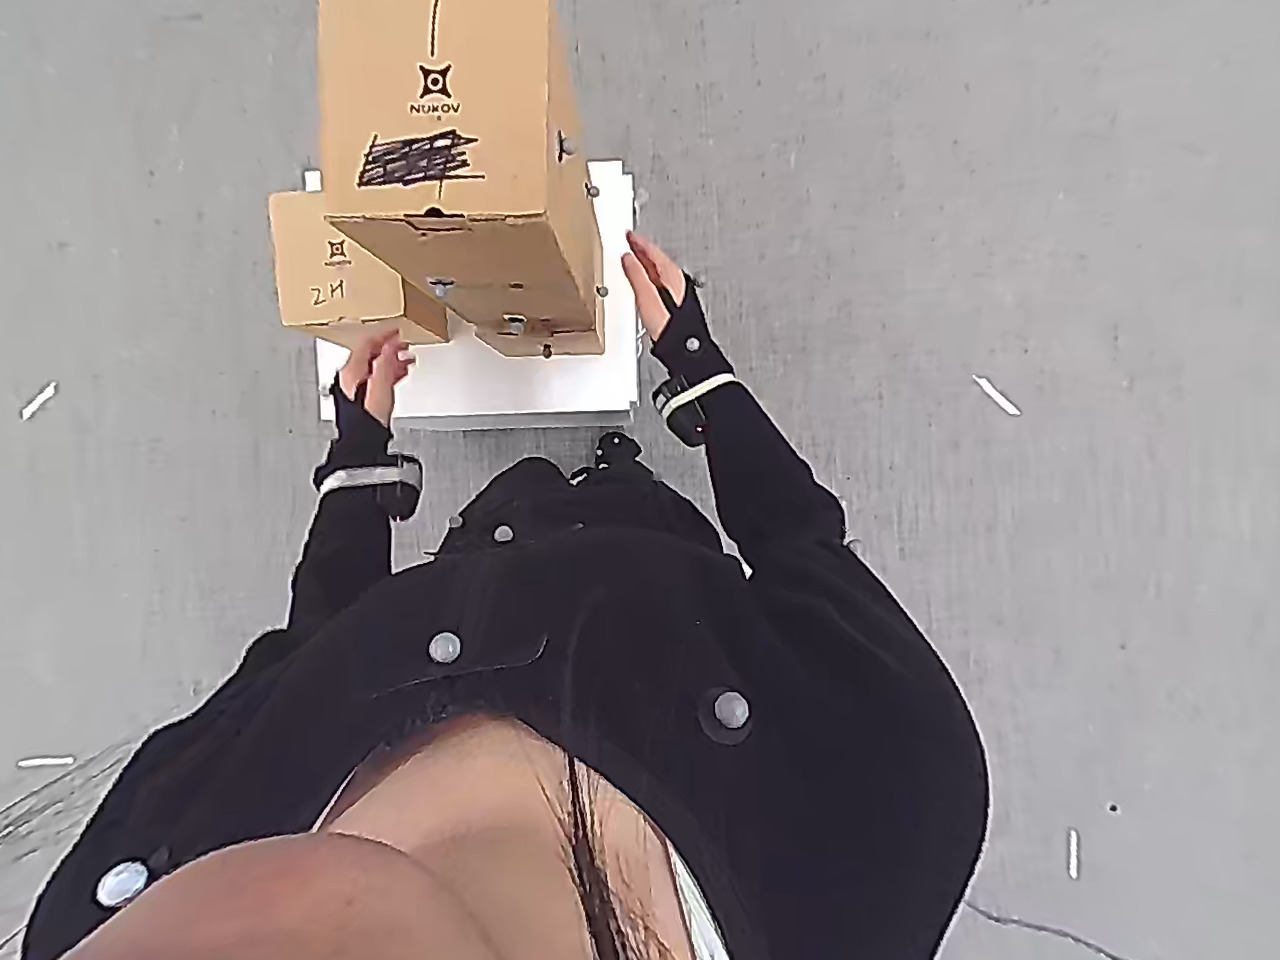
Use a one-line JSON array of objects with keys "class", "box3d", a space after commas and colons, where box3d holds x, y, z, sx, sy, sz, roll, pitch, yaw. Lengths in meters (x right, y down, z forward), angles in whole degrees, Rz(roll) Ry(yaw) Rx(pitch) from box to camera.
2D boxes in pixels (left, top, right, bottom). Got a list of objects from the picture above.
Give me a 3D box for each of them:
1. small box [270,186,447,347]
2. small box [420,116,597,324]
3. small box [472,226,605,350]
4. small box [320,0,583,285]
[{"class": "small box", "box3d": [-0.394, -0.301, 0.786, 0.168, 0.176, 0.179, -4, 94, 0]}, {"class": "small box", "box3d": [-0.141, -0.288, 0.624, 0.168, 0.176, 0.179, -1, 94, 2]}, {"class": "small box", "box3d": [-0.139, -0.287, 0.788, 0.168, 0.176, 0.179, -1, 94, 1]}, {"class": "small box", "box3d": [-0.141, -0.276, 0.460, 0.168, 0.176, 0.179, 1, 91, 1]}]
